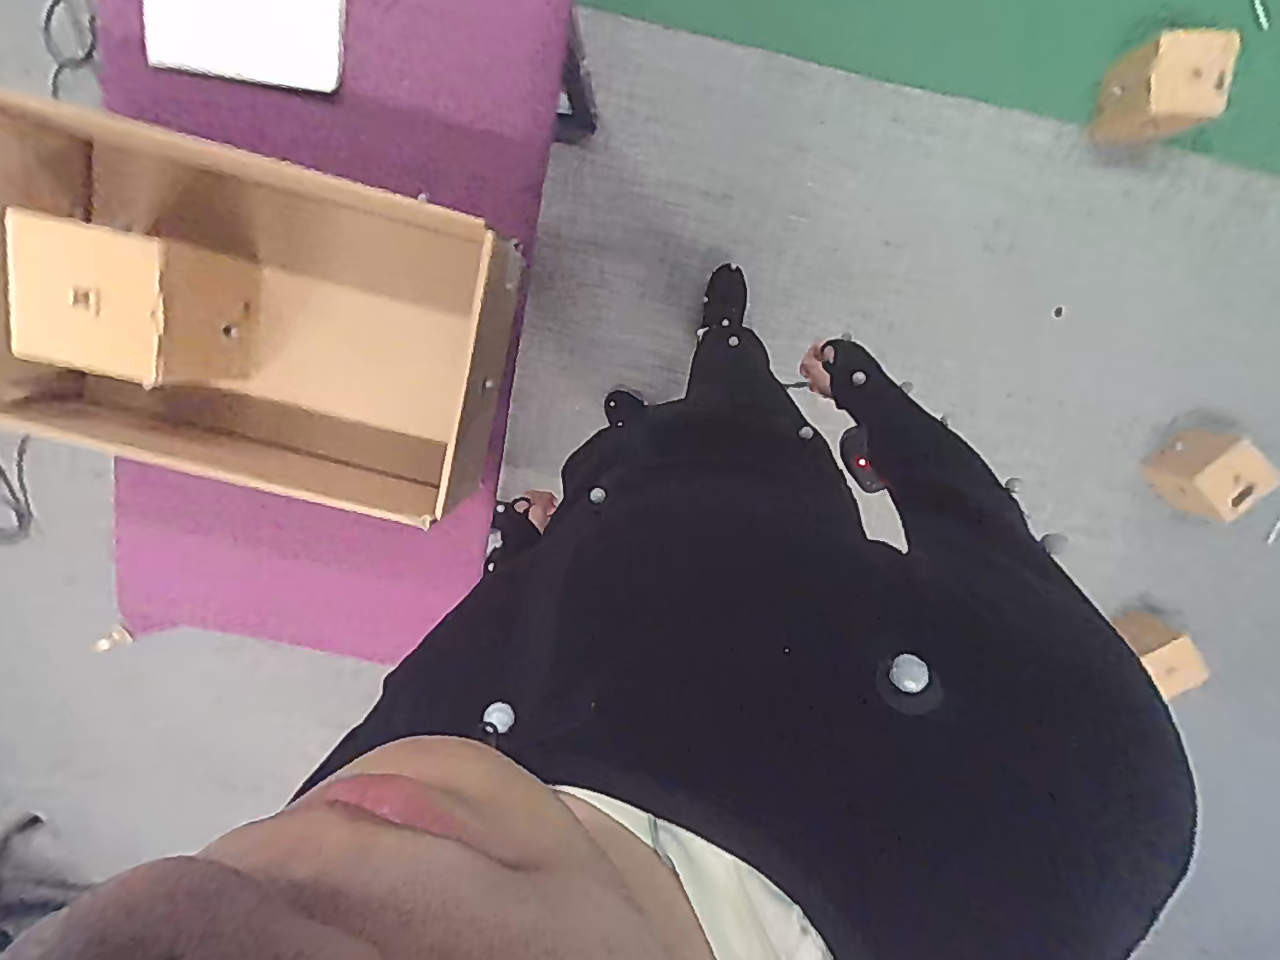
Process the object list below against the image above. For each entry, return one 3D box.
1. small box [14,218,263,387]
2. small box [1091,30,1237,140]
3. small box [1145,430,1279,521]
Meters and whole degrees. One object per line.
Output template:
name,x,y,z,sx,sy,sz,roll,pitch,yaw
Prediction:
small box,-0.646,-0.222,0.714,0.179,0.176,0.168,11,102,-3
small box,1.241,-0.937,1.297,0.179,0.176,0.168,2,103,1
small box,1.583,-0.021,1.498,0.179,0.176,0.168,44,100,-7
